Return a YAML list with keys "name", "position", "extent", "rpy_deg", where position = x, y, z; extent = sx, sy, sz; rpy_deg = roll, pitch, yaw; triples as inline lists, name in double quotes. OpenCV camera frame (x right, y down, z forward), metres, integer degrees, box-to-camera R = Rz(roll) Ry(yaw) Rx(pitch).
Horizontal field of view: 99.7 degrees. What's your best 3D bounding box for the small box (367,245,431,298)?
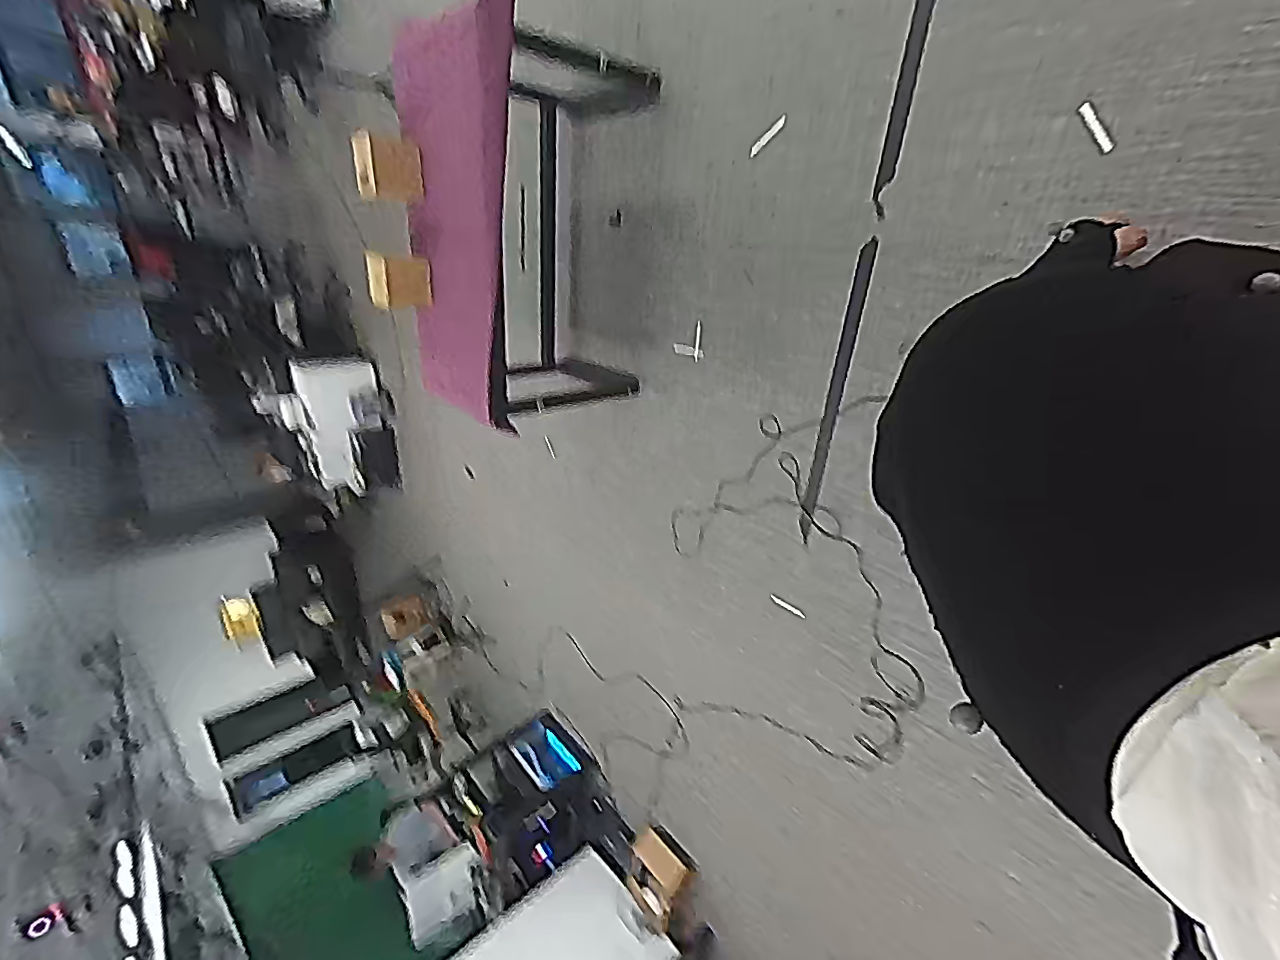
- name: "small box"
  position: [-0.906, -0.784, 2.038]
  extent: [0.179, 0.176, 0.168]
  rpy_deg: [29, 124, 39]
